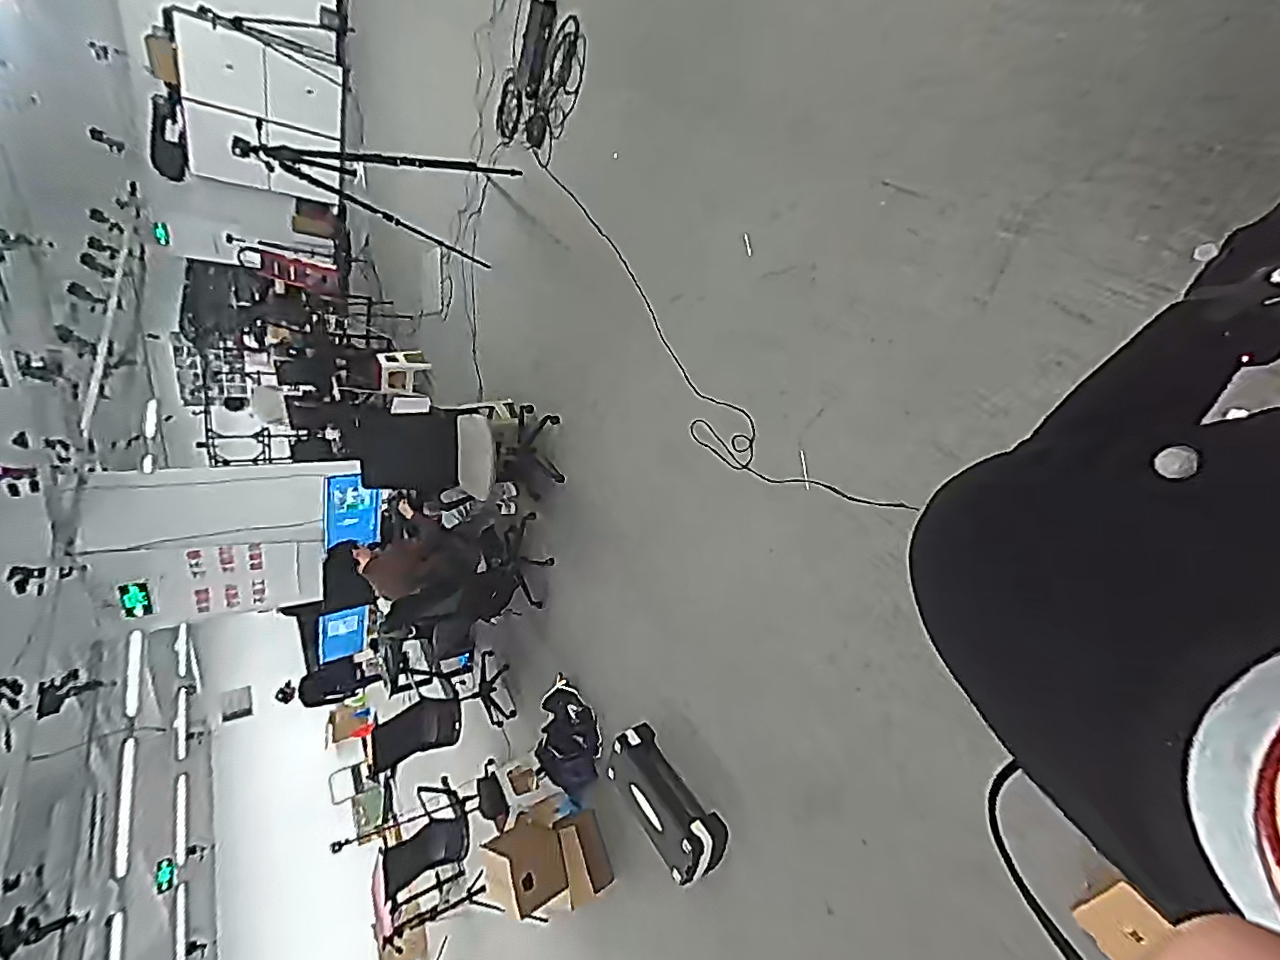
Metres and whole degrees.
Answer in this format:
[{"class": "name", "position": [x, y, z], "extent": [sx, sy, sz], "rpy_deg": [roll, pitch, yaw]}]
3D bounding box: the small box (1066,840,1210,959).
[{"class": "small box", "position": [1.124, 0.966, 1.219], "extent": [0.168, 0.176, 0.179], "rpy_deg": [45, 127, 38]}]
